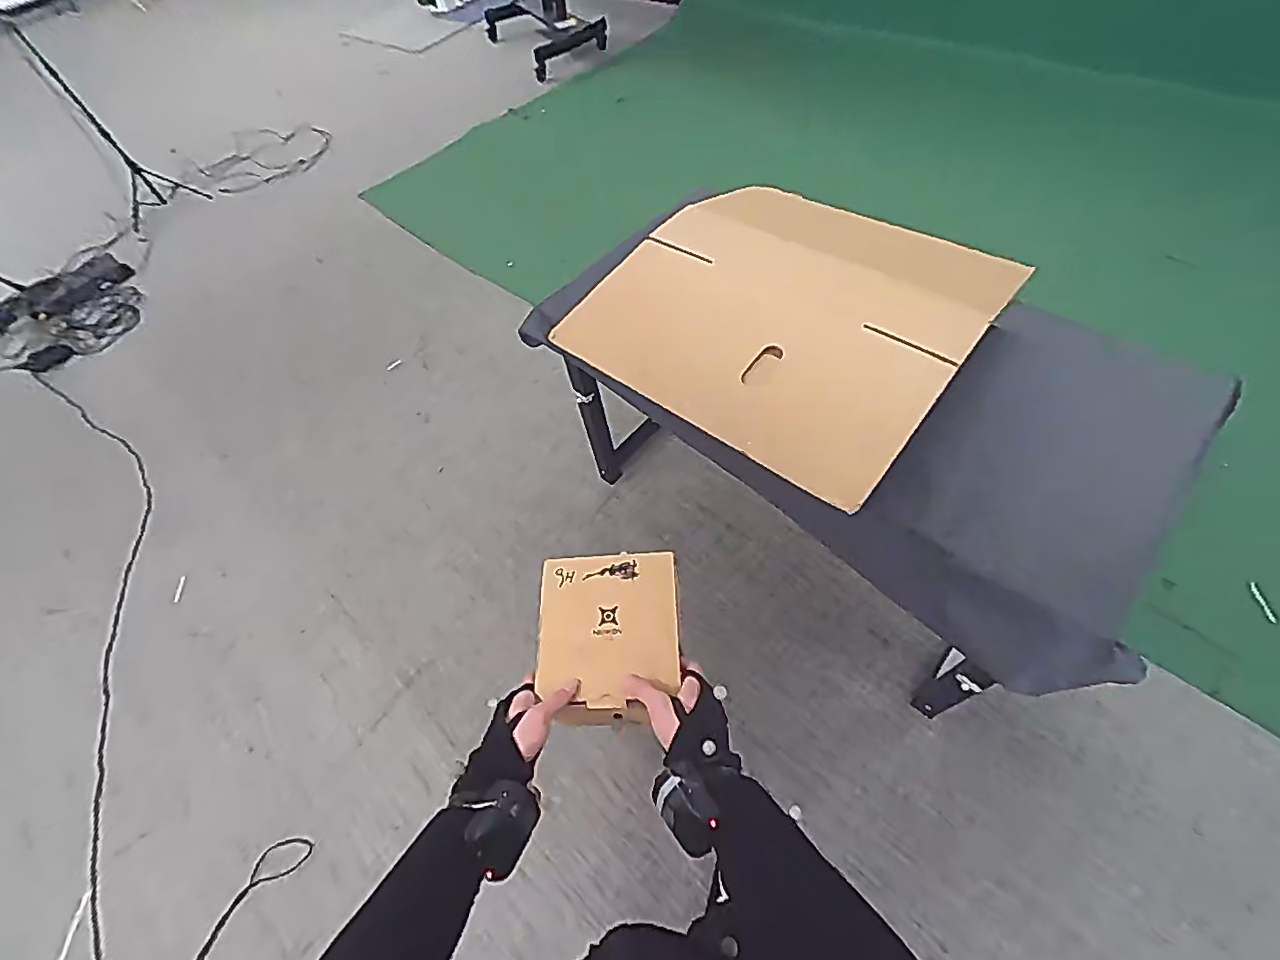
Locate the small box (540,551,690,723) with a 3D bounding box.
[{"bbox_3d":[-0.026,0.212,0.707,0.168,0.176,0.179,-6,57,3],"label":"small box"}]
